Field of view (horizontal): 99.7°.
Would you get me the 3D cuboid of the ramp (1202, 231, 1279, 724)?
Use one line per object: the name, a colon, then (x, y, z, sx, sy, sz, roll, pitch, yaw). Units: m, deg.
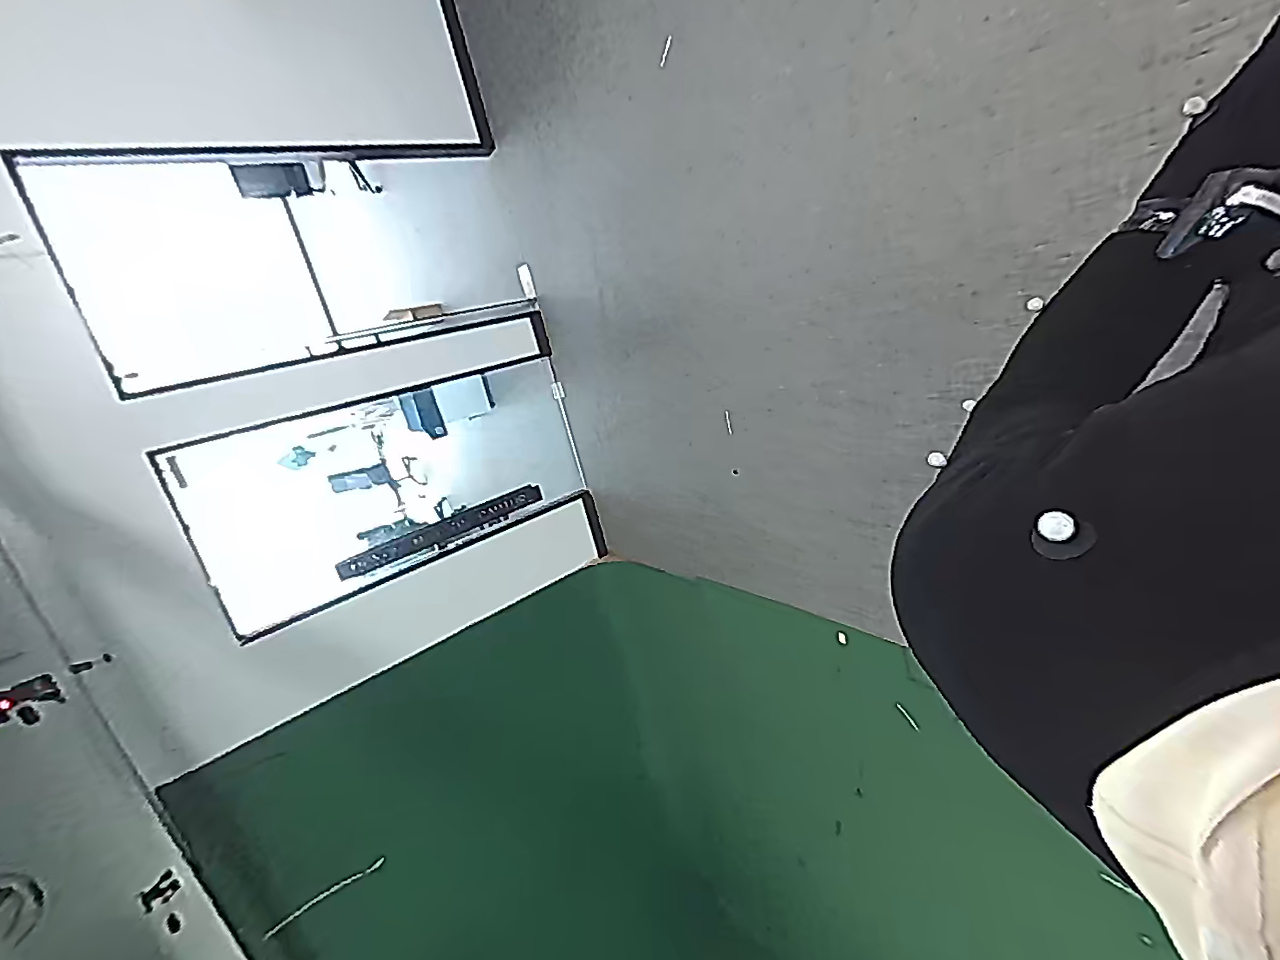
ramp: (1.366, 0.026, 0.958, 0.509, 0.206, 0.991, 4, 113, 56)
